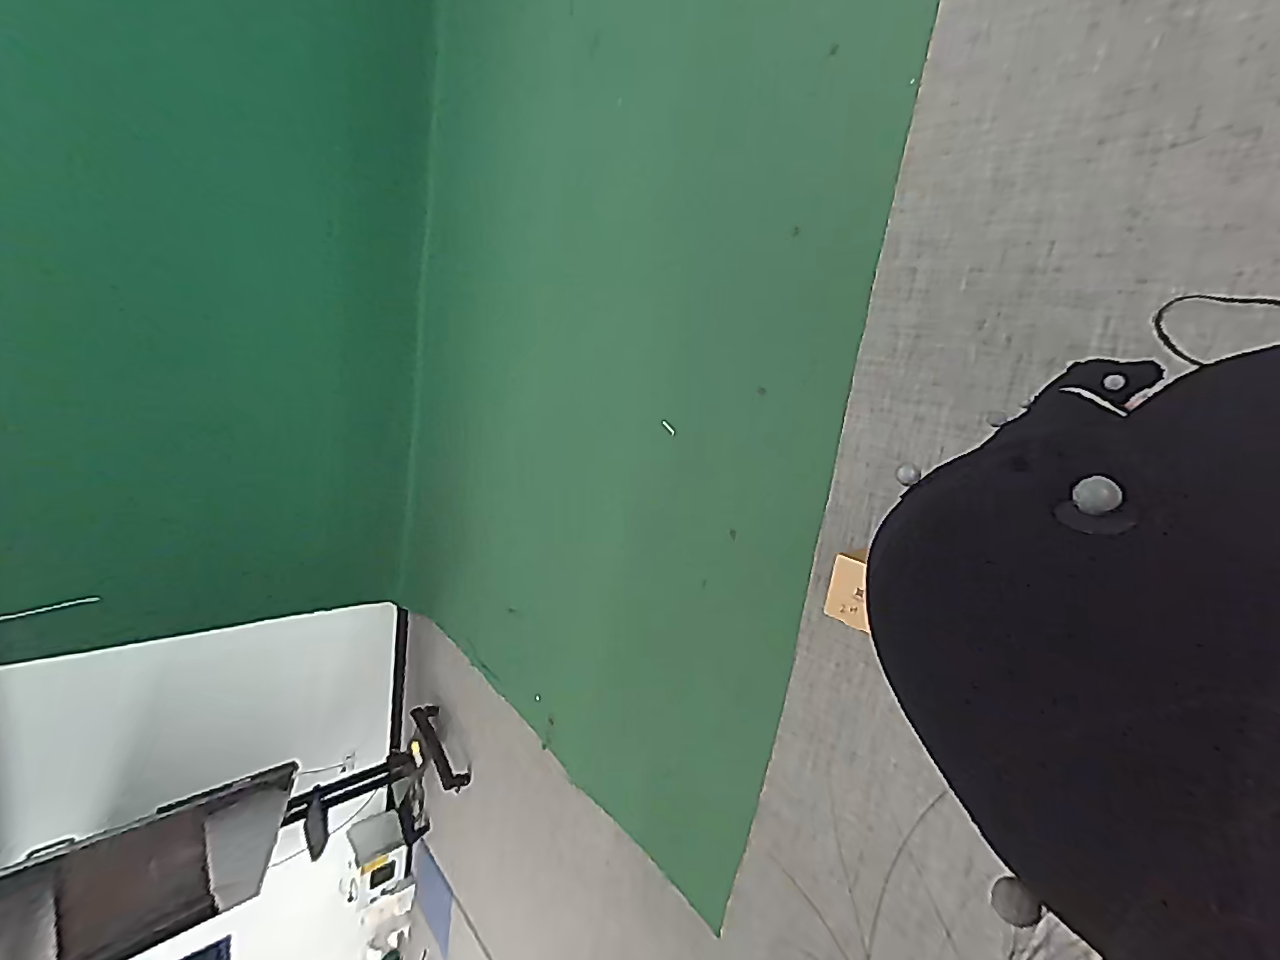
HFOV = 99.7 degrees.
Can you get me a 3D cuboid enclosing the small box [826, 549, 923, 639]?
[{"bbox_3d":[0.628,0.292,1.439,0.168,0.176,0.179,21,106,45],"label":"small box"}]
